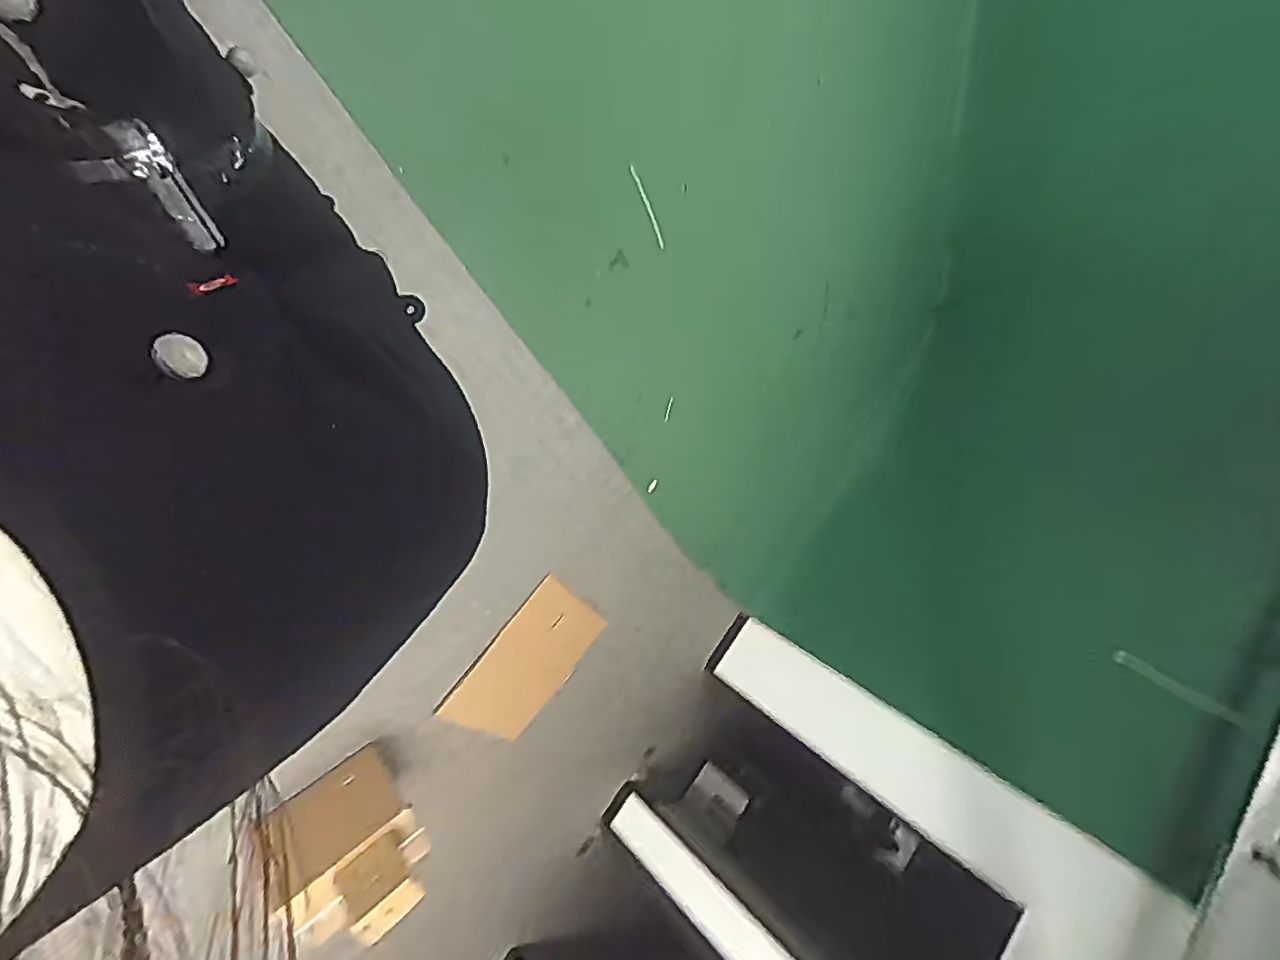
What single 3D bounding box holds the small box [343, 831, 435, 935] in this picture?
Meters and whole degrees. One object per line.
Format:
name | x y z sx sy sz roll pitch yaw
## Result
small box | -0.775 1.237 1.669 0.179 0.176 0.168 -35 137 -30
